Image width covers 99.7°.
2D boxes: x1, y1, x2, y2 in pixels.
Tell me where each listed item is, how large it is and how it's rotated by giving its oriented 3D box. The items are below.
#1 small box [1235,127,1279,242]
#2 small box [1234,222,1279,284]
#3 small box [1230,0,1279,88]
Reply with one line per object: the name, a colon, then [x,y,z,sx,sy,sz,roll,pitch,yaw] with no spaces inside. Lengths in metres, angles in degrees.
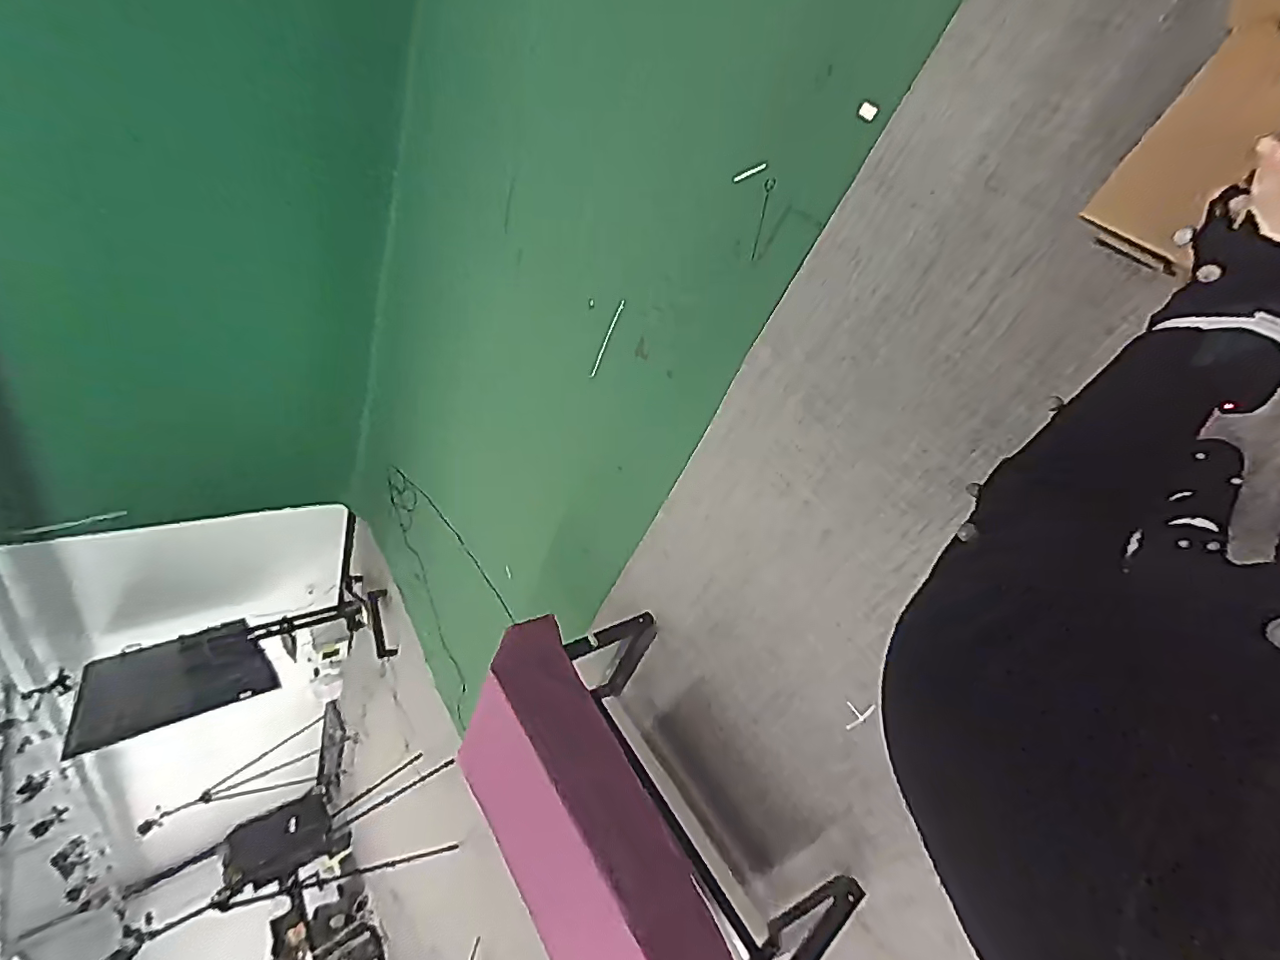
small box: [0.594,-0.244,0.387,0.179,0.176,0.168,49,130,27]
small box: [0.758,-0.276,0.537,0.168,0.176,0.179,53,130,25]
small box: [0.856,-0.589,0.632,0.168,0.176,0.179,52,126,30]
